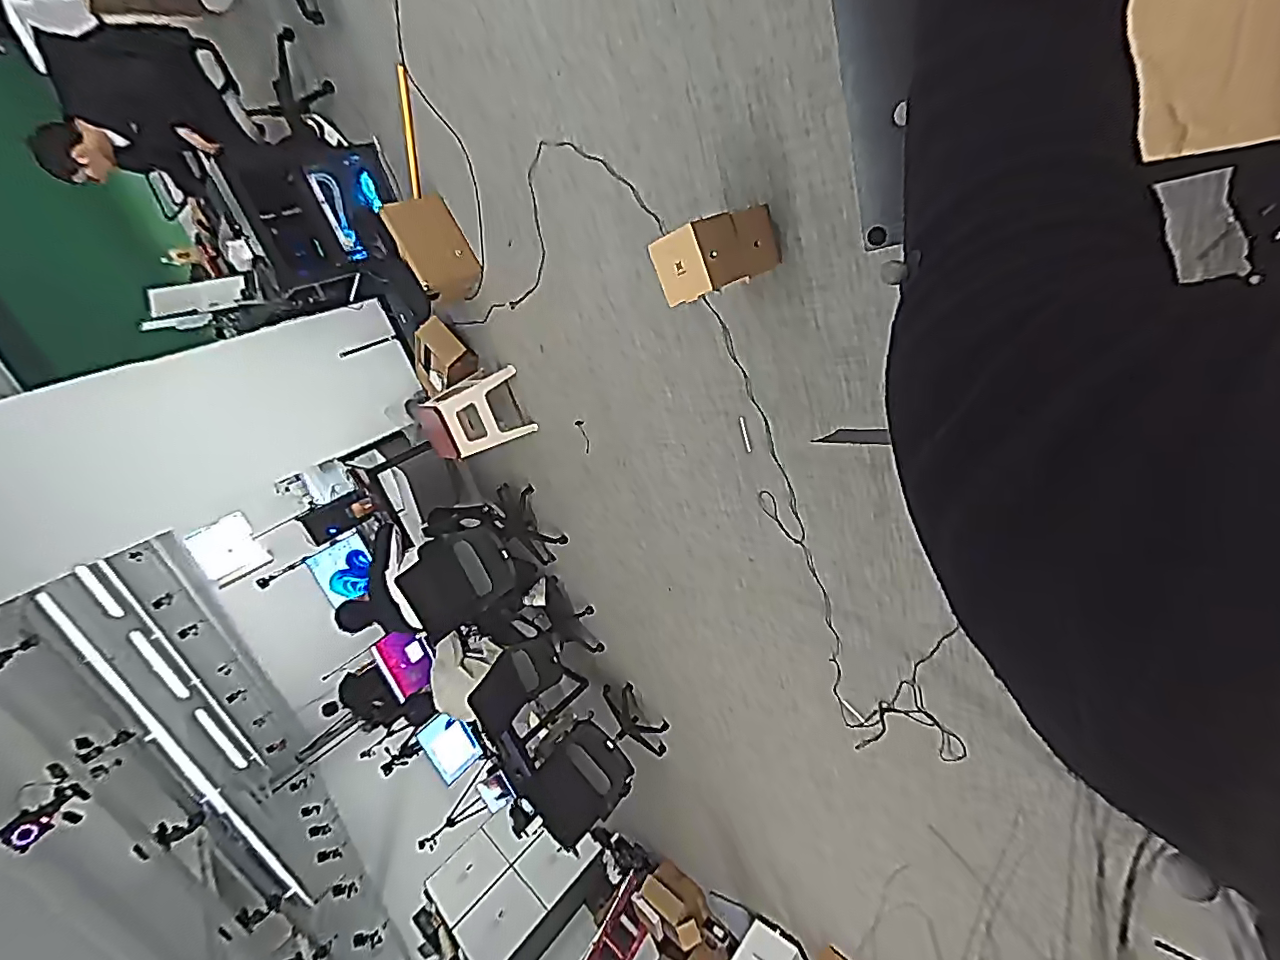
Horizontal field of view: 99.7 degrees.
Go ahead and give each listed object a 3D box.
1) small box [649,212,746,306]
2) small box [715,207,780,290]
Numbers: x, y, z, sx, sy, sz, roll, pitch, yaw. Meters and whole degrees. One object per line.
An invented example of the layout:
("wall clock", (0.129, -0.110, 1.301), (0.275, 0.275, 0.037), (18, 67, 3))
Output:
("small box", (0.160, -0.595, 1.457), (0.168, 0.176, 0.179), (-3, 114, 50))
("small box", (0.274, -0.665, 1.551), (0.168, 0.176, 0.179), (2, 120, 50))
